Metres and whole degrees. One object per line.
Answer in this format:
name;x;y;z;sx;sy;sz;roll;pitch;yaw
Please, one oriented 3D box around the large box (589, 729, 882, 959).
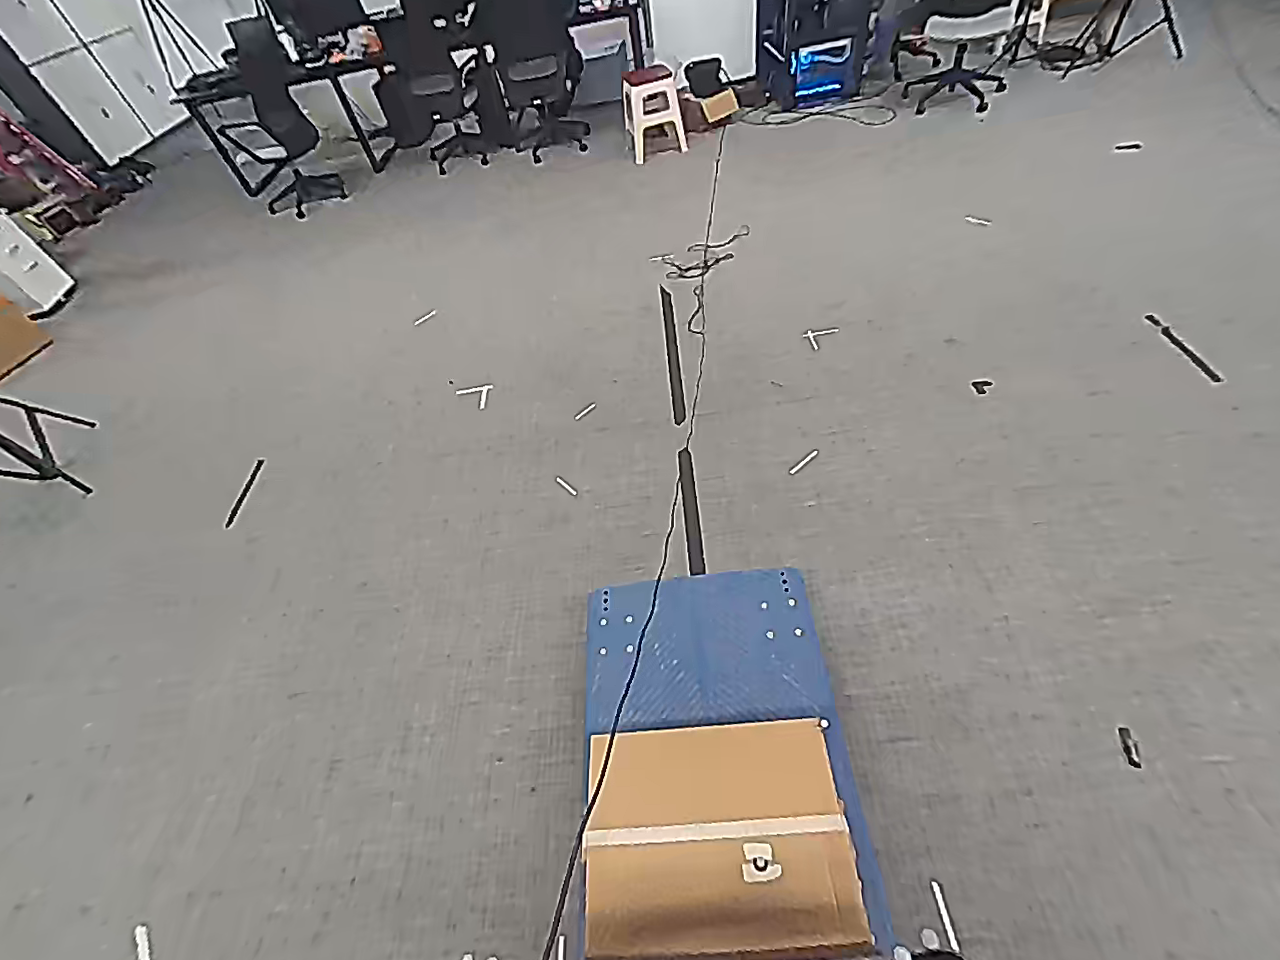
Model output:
large box;0.139;0.657;0.932;0.408;0.320;0.320;-7;48;5
